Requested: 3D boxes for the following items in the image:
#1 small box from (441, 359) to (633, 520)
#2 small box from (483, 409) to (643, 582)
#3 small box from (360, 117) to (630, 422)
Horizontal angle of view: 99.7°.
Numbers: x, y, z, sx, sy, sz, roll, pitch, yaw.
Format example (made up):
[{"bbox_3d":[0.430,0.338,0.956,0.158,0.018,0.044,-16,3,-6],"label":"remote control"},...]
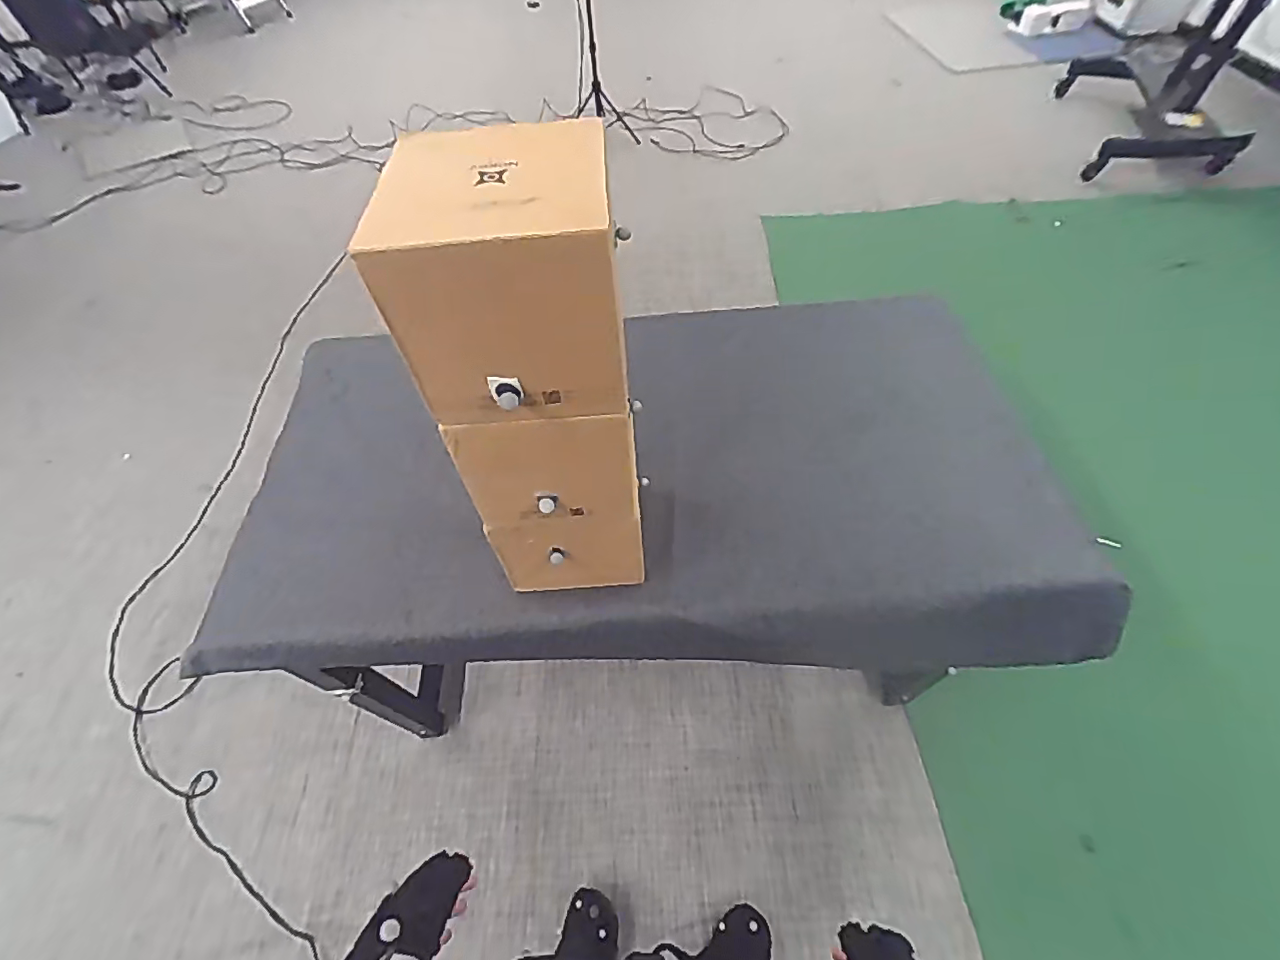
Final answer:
[{"bbox_3d":[-0.093,-0.075,0.583,0.168,0.176,0.179,-3,54,0],"label":"small box"},{"bbox_3d":[-0.089,0.025,0.714,0.179,0.176,0.168,-3,54,0],"label":"small box"},{"bbox_3d":[-0.097,-0.171,0.453,0.168,0.176,0.179,-5,55,0],"label":"small box"}]
